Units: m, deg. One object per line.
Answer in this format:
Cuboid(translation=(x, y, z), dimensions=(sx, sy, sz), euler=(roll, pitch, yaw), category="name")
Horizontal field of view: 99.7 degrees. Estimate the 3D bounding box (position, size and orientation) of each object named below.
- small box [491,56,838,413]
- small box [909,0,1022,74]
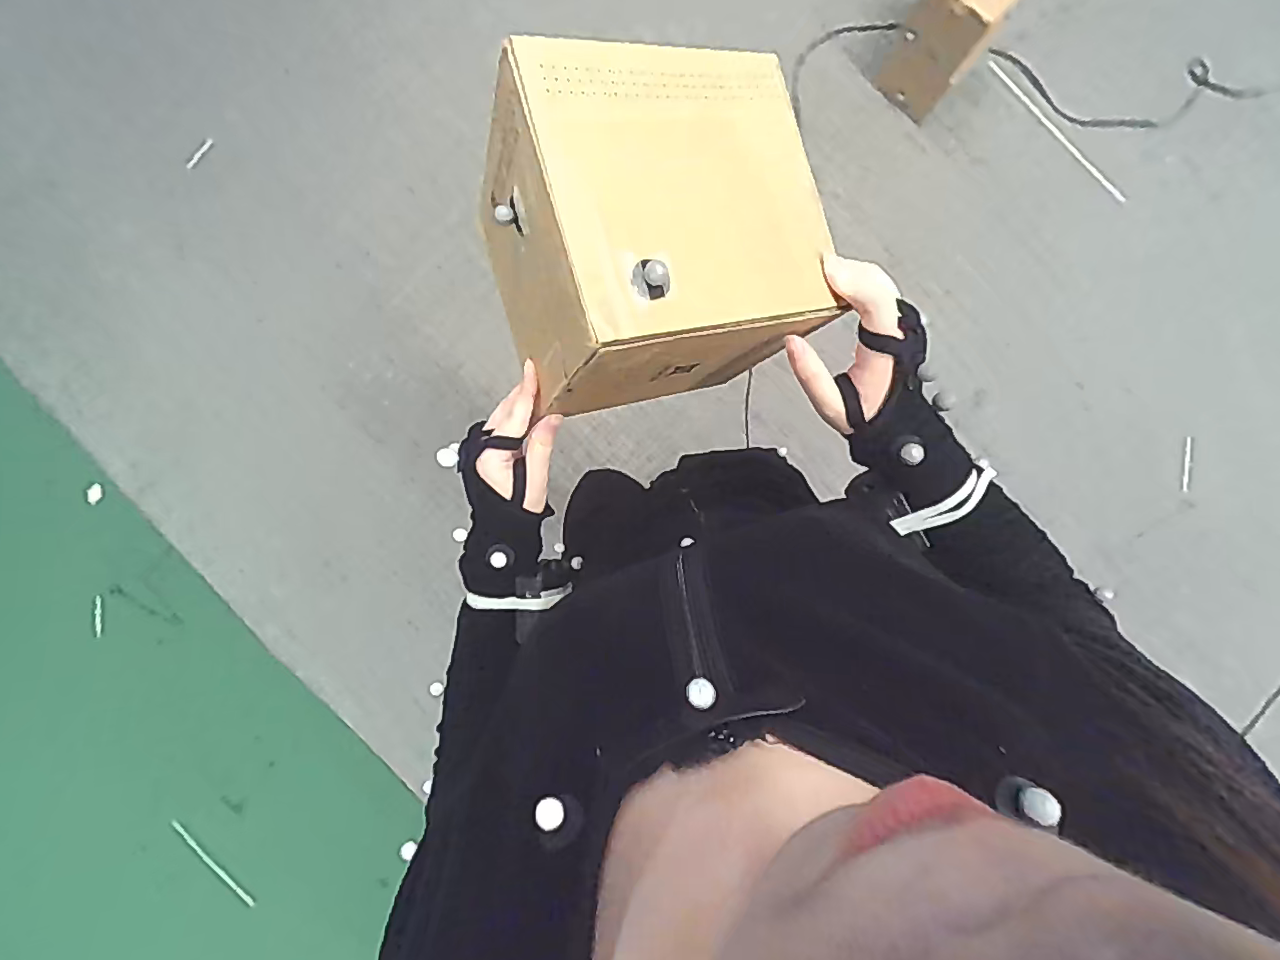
Cuboid(translation=(0.005, -0.160, 0.390), dimensions=(0.179, 0.168, 0.176), euler=(-12, 87, -22), category="small box")
Cuboid(translation=(0.693, -1.009, 1.122), dimensions=(0.168, 0.176, 0.179), euler=(42, 96, 1), category="small box")
